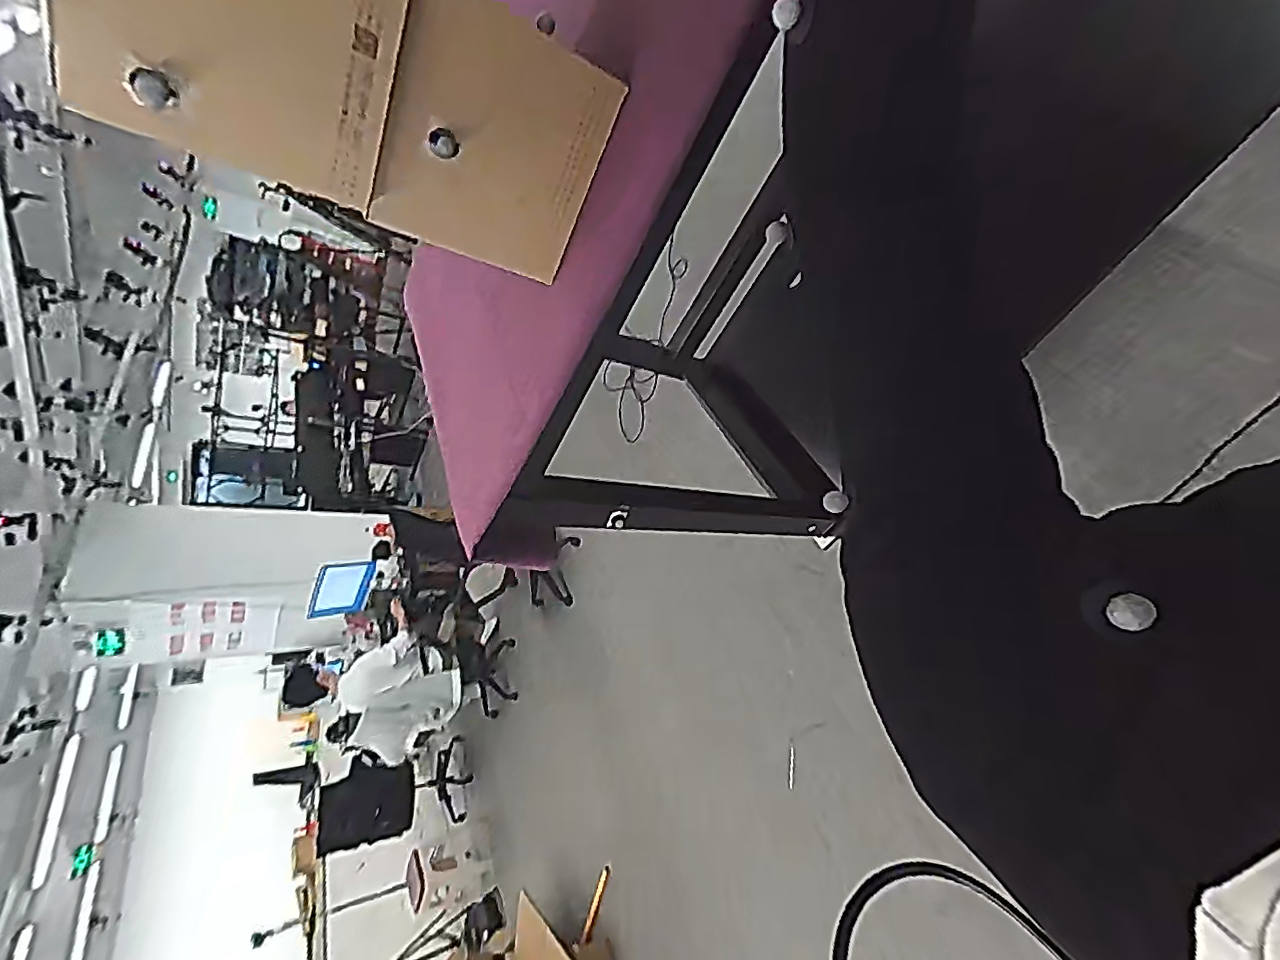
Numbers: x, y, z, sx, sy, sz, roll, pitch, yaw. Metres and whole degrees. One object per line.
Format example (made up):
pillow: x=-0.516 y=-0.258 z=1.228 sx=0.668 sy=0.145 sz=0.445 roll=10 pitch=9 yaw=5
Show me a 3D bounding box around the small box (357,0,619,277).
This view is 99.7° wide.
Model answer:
small box: x=-0.144 y=-0.312 z=0.486 sx=0.179 sy=0.176 sz=0.168 roll=-60 pitch=43 yaw=29
